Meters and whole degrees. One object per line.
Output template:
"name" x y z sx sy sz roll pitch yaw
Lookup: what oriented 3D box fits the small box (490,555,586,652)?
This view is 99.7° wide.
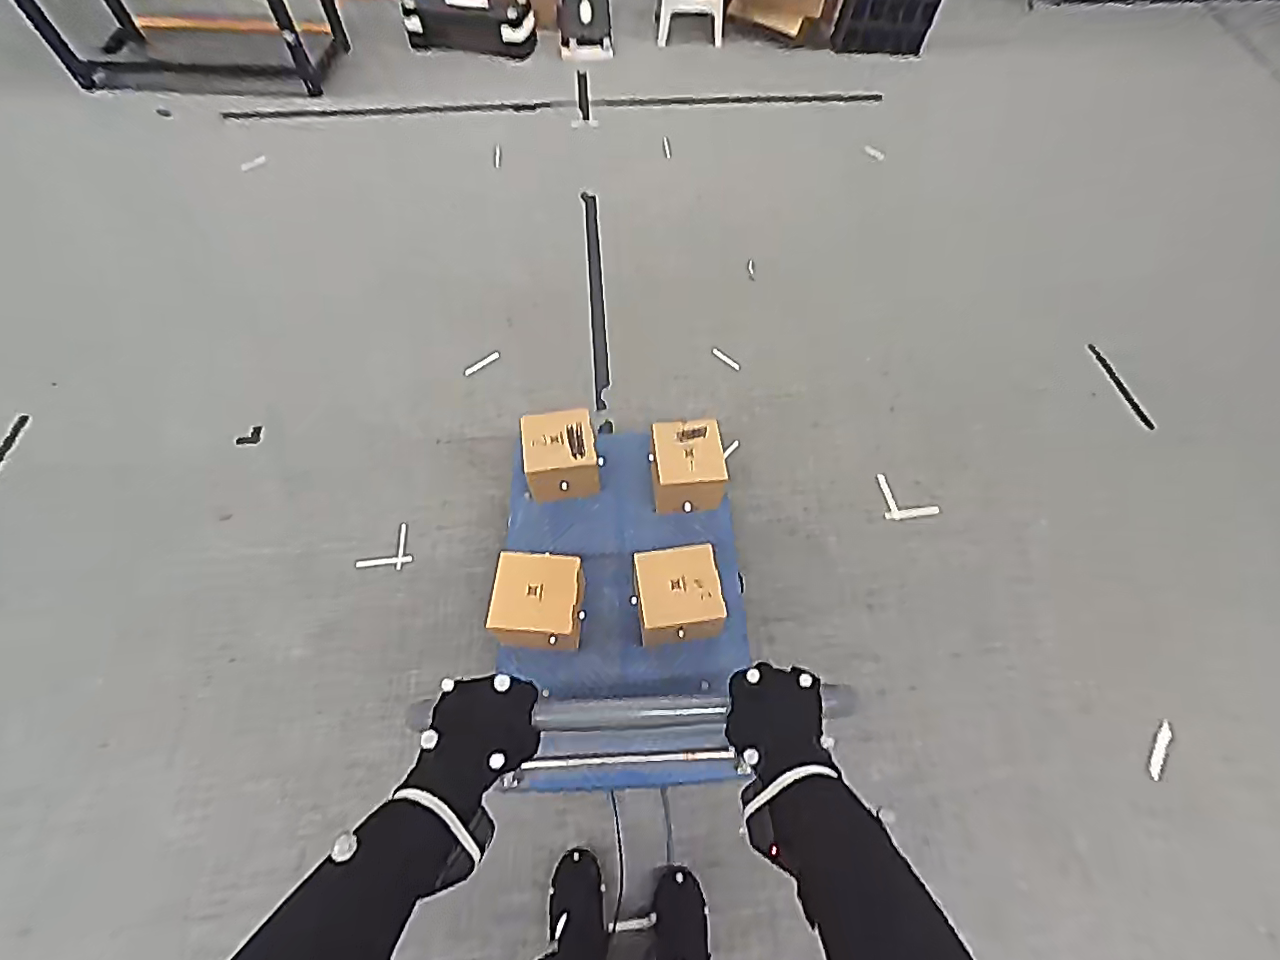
"small box" -0.219 0.281 1.212 0.179 0.176 0.168 5 59 -1

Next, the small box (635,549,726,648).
"small box" 0.085 0.272 1.224 0.179 0.176 0.168 -6 61 -5

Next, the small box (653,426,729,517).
"small box" 0.124 -0.020 1.394 0.168 0.176 0.179 -4 61 -4
